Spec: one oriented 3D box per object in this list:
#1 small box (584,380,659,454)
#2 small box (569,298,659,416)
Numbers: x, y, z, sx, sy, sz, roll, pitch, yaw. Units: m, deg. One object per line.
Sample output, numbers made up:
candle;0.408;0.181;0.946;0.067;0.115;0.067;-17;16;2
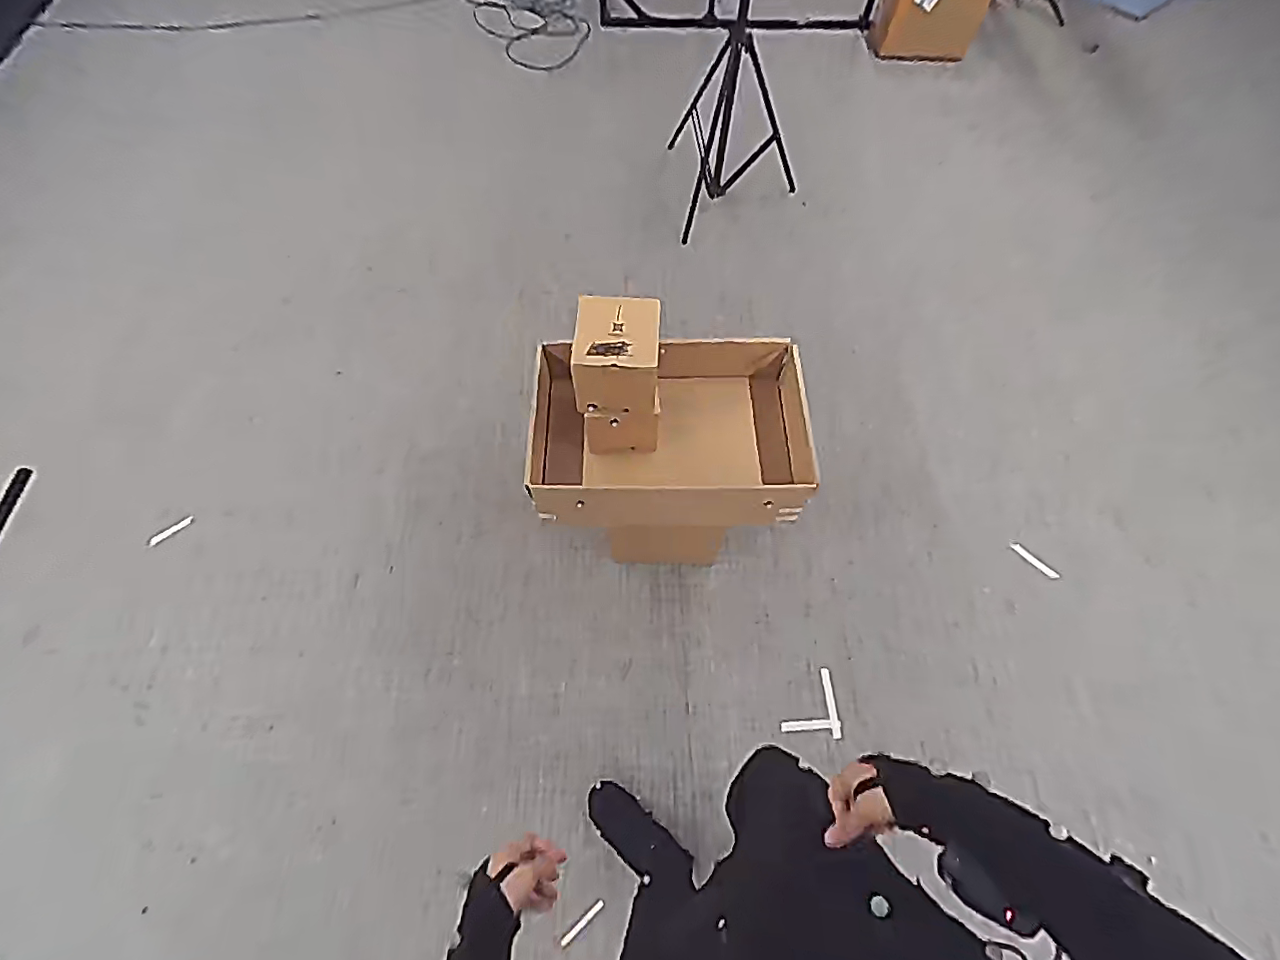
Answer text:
small box;-0.046;-0.177;1.268;0.168;0.176;0.179;-3;64;-2
small box;-0.048;-0.249;1.119;0.168;0.176;0.179;3;64;0
